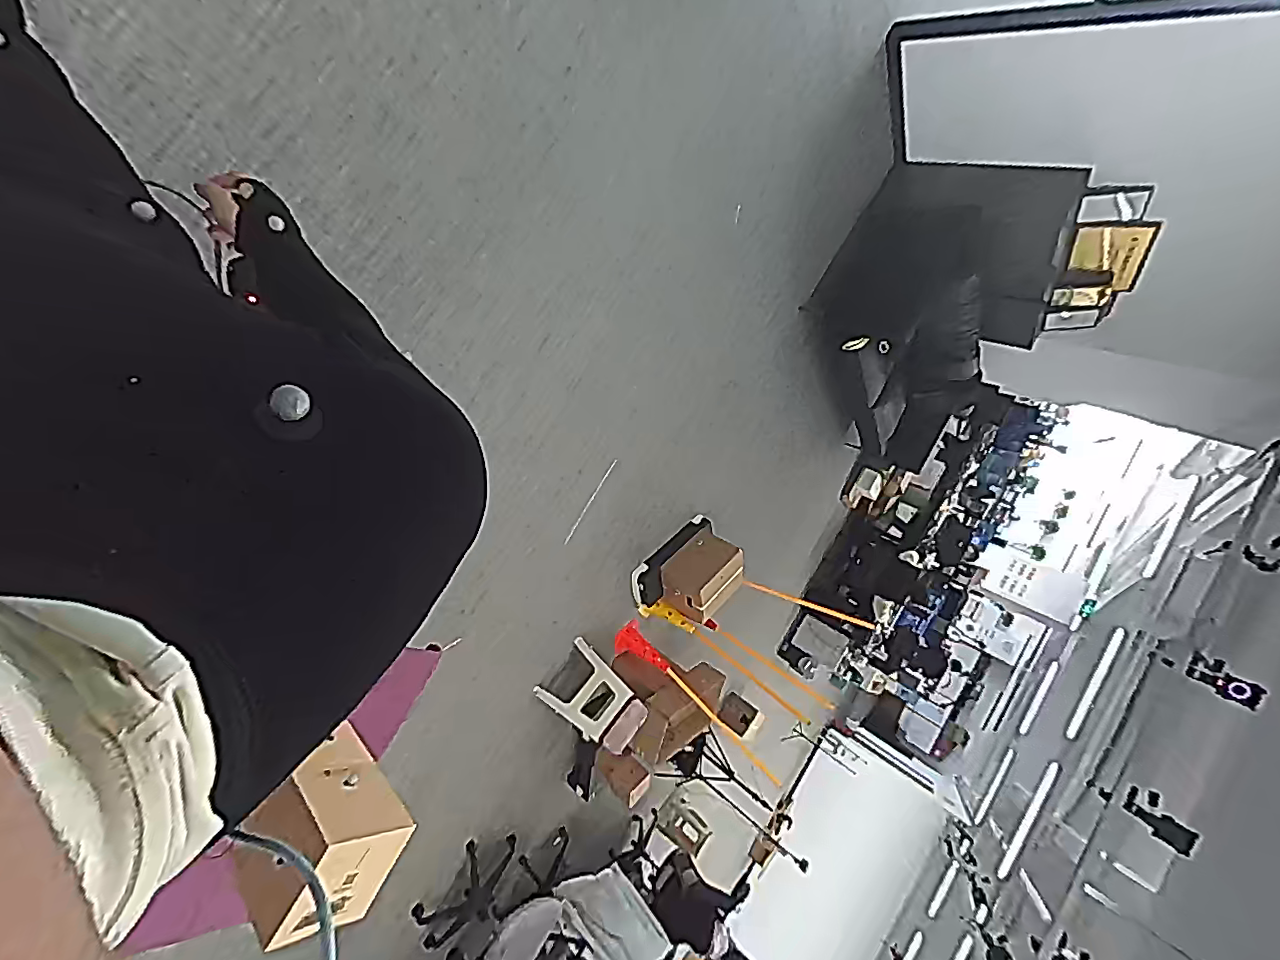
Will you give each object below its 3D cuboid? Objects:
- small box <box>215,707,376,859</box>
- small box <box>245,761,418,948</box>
[{"bbox_3d":[-0.635,0.539,0.995,0.179,0.176,0.168,-59,145,-4],"label":"small box"},{"bbox_3d":[-0.517,0.604,0.901,0.179,0.176,0.168,-60,146,-5],"label":"small box"}]
